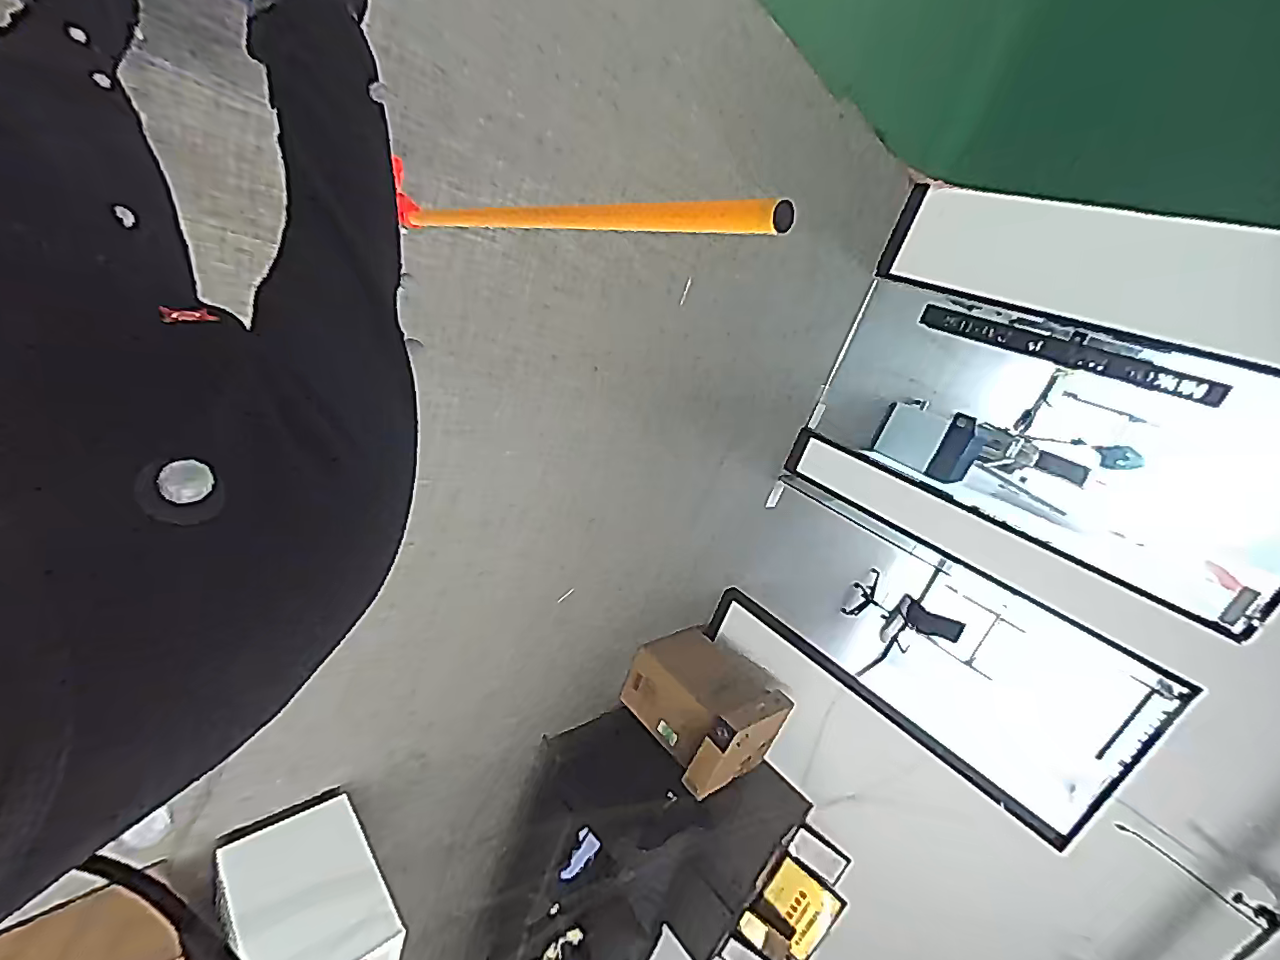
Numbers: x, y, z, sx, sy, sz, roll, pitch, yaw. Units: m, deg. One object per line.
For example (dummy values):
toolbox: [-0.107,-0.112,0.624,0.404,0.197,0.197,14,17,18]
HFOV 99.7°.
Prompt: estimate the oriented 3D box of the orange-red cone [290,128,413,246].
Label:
orange-red cone: [-0.558,-0.577,1.118,0.199,0.360,0.198,1,116,-47]
